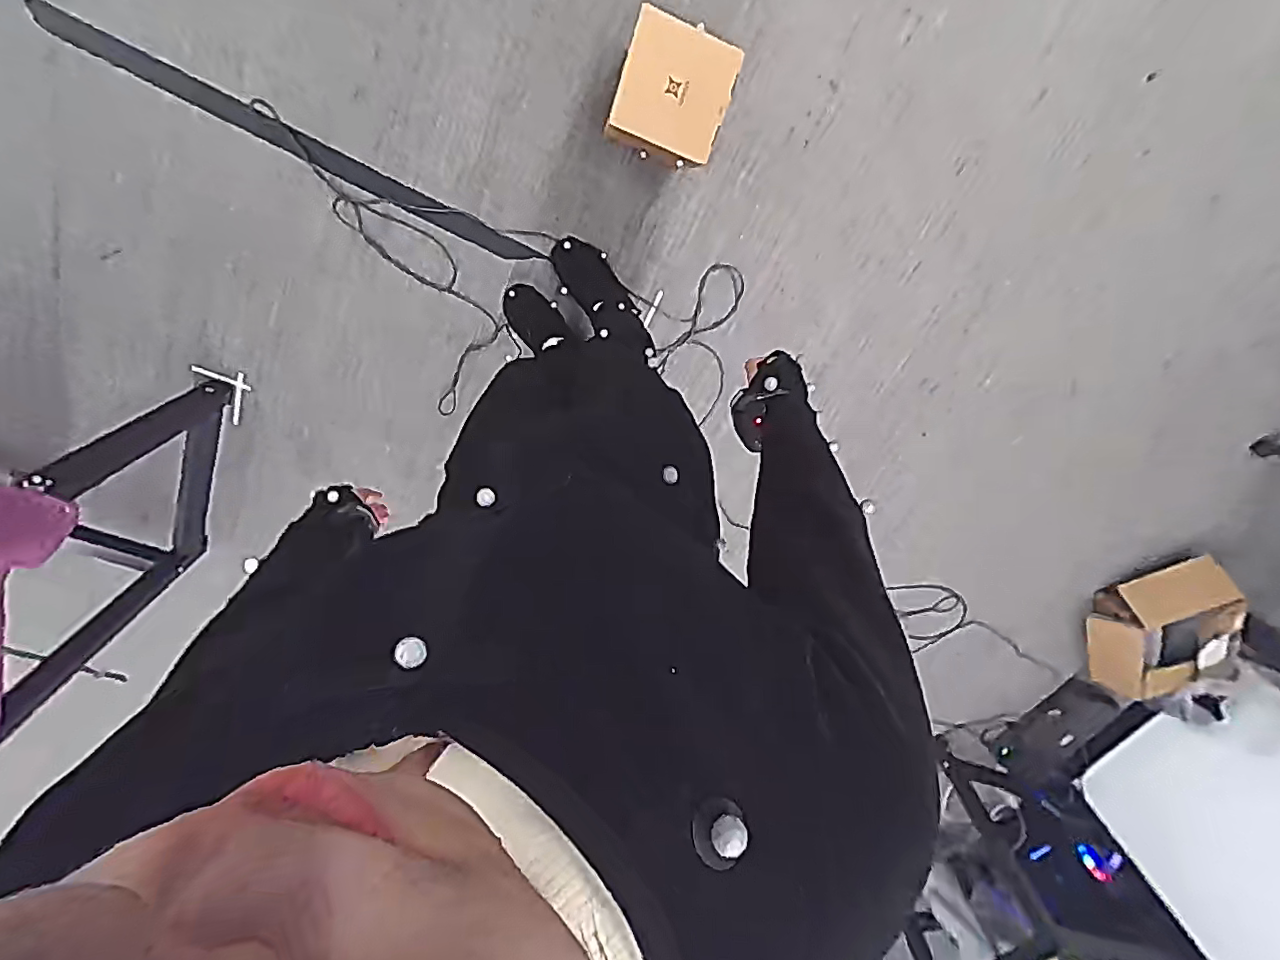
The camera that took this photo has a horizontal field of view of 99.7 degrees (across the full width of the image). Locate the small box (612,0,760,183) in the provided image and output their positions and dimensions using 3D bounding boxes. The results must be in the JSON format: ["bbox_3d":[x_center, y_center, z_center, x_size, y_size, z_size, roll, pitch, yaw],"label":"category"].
[{"bbox_3d":[0.072,-0.628,0.897,0.168,0.176,0.179,6,102,-28],"label":"small box"}]
